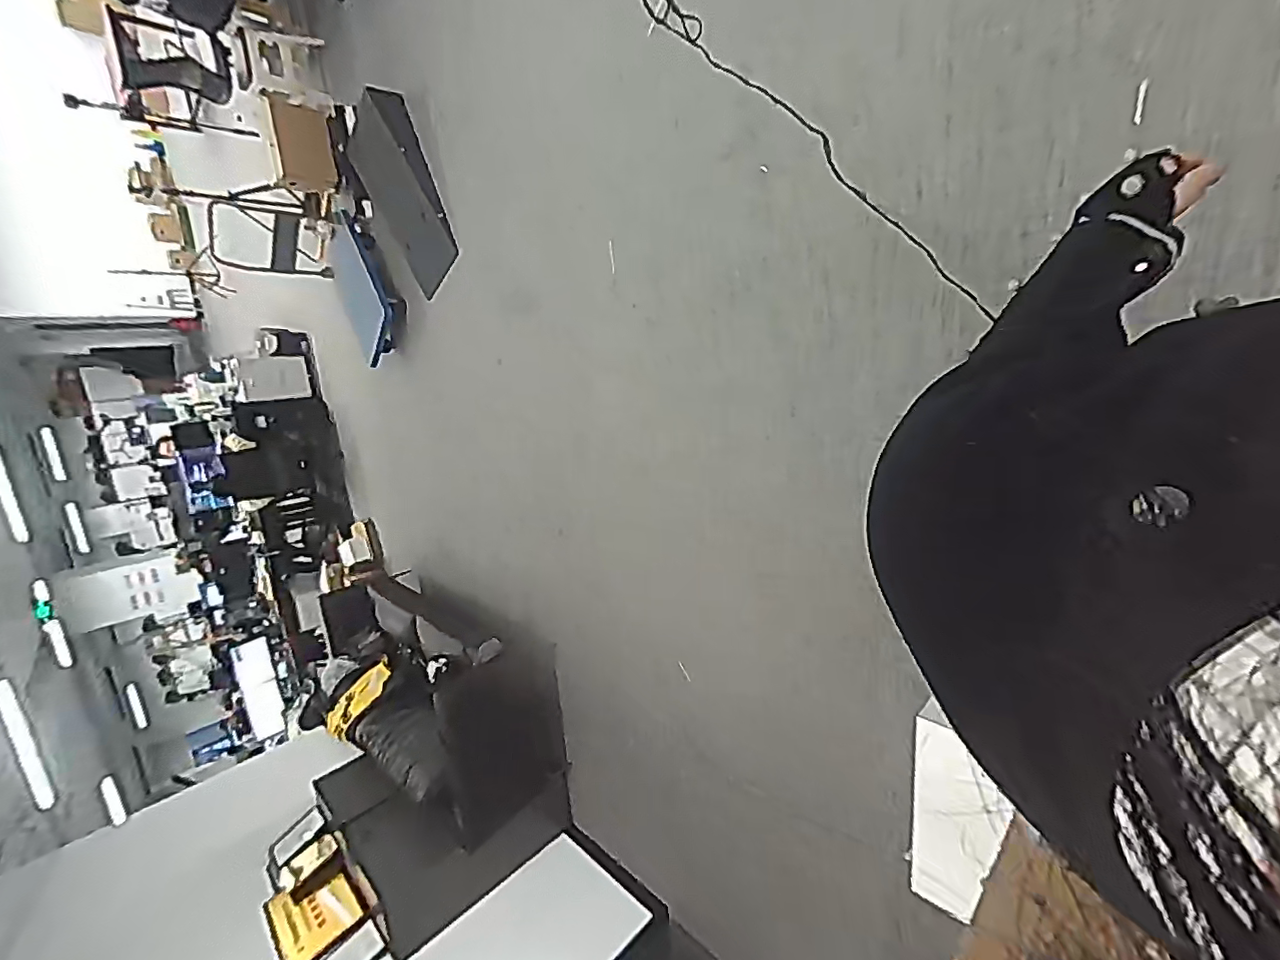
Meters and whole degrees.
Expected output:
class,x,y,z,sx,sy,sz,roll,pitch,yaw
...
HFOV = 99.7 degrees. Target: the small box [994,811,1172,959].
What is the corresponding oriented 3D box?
class,x,y,z,sx,sy,sz,roll,pitch,yaw
small box,0.629,0.631,0.770,0.168,0.176,0.179,11,110,45
